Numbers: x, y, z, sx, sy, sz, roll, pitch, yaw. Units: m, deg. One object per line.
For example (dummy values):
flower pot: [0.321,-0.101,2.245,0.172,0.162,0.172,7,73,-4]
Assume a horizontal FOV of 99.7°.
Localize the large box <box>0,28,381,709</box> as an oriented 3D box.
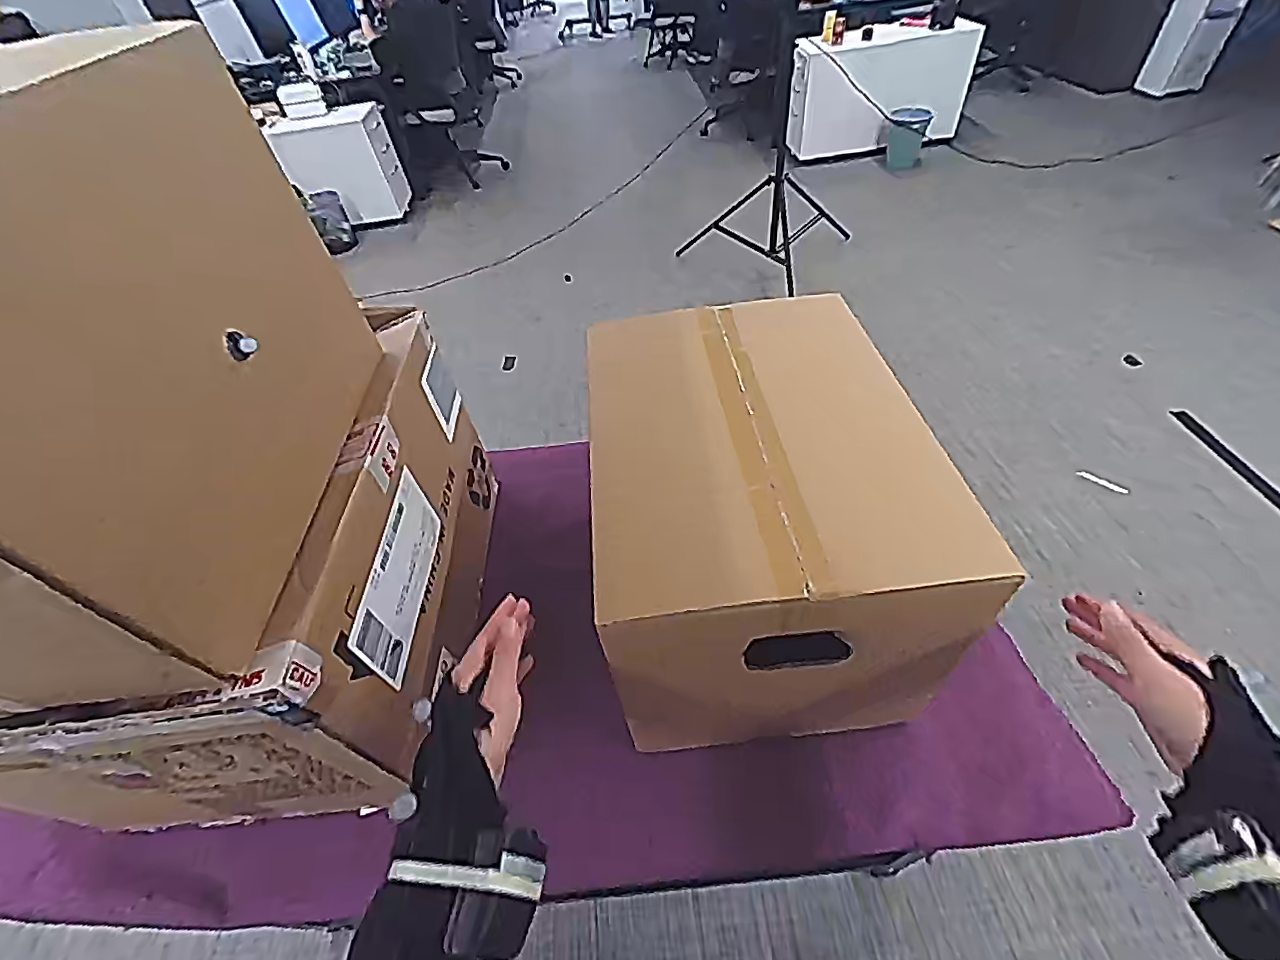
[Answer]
large box: [-0.448,-0.087,0.405,0.320,0.320,0.408,-9,48,2]
